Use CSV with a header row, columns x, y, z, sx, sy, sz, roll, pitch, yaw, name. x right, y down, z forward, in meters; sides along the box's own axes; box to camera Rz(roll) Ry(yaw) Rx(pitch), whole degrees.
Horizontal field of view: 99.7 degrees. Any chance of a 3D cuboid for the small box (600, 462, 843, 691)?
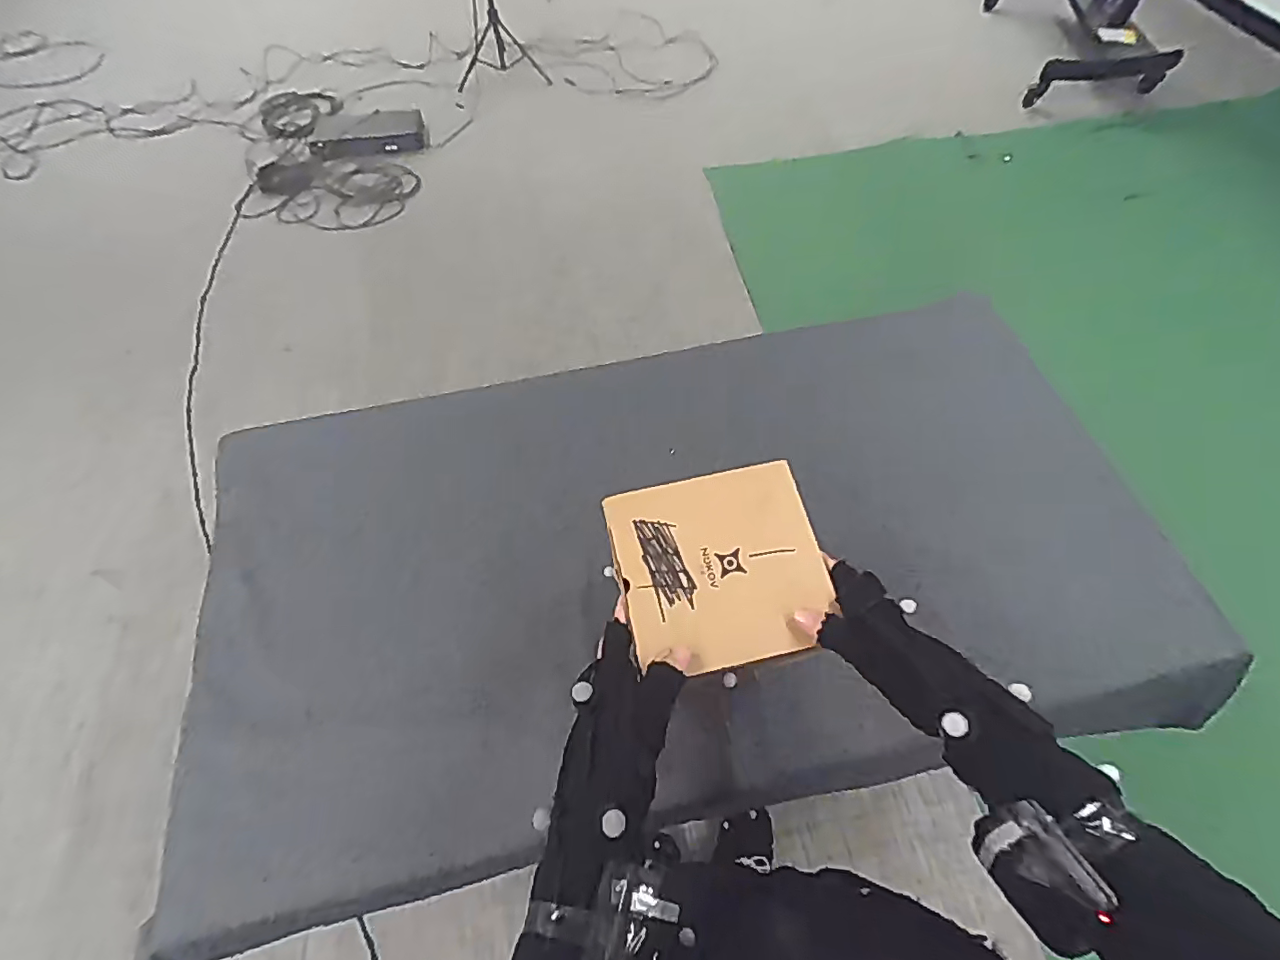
x,y,z,sx,sy,sz,roll,pitch,yaw,name
0.066,0.104,0.531,0.179,0.176,0.168,-11,67,-4,small box
